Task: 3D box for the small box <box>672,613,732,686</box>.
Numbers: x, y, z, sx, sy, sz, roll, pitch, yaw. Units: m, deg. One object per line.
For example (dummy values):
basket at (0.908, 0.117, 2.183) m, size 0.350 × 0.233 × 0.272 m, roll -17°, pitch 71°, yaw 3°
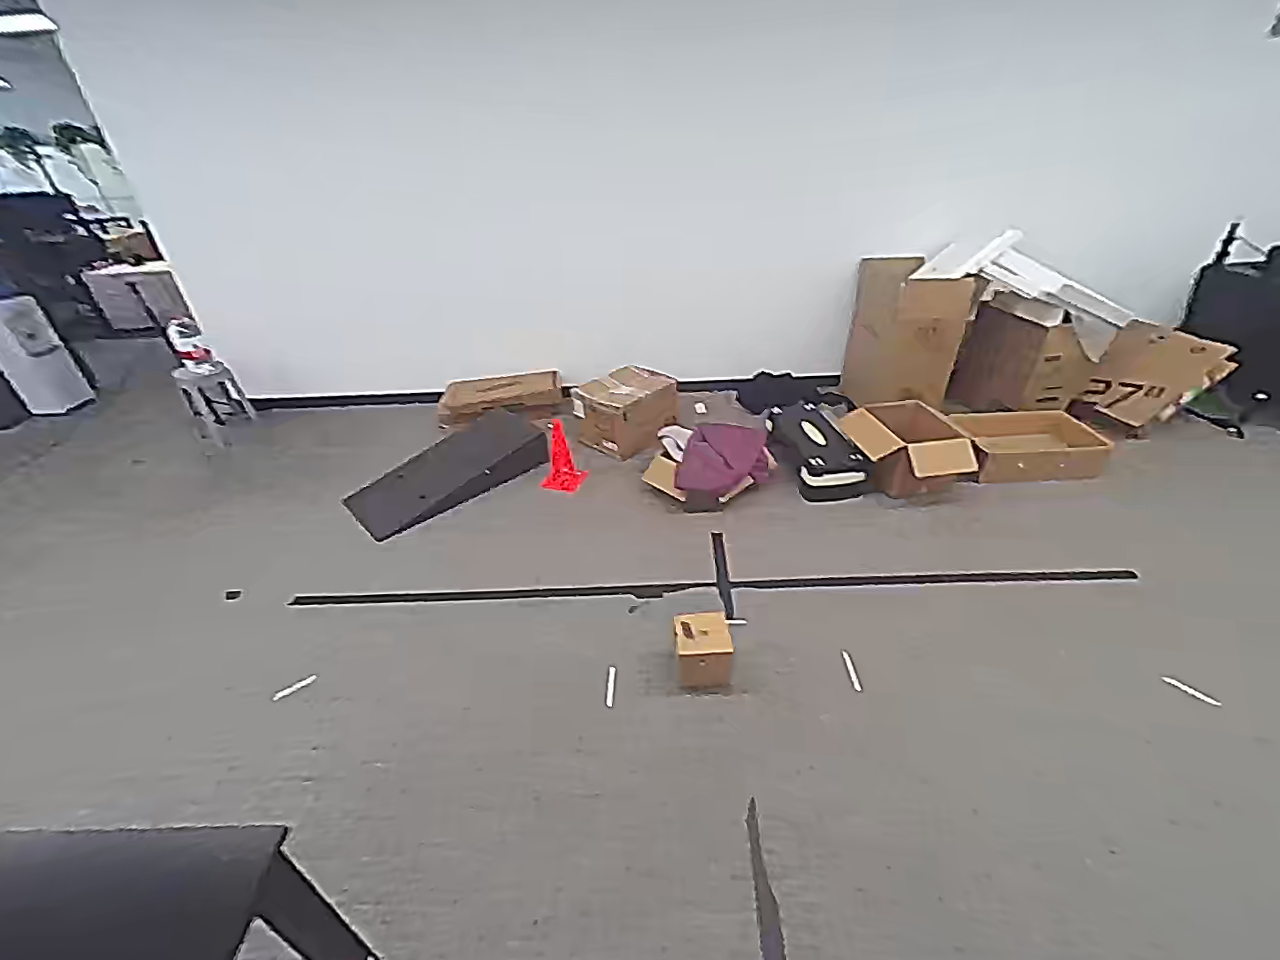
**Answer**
small box at (0.202, 0.562, 1.788) m, size 0.179 × 0.176 × 0.168 m, roll -3°, pitch 33°, yaw -1°
